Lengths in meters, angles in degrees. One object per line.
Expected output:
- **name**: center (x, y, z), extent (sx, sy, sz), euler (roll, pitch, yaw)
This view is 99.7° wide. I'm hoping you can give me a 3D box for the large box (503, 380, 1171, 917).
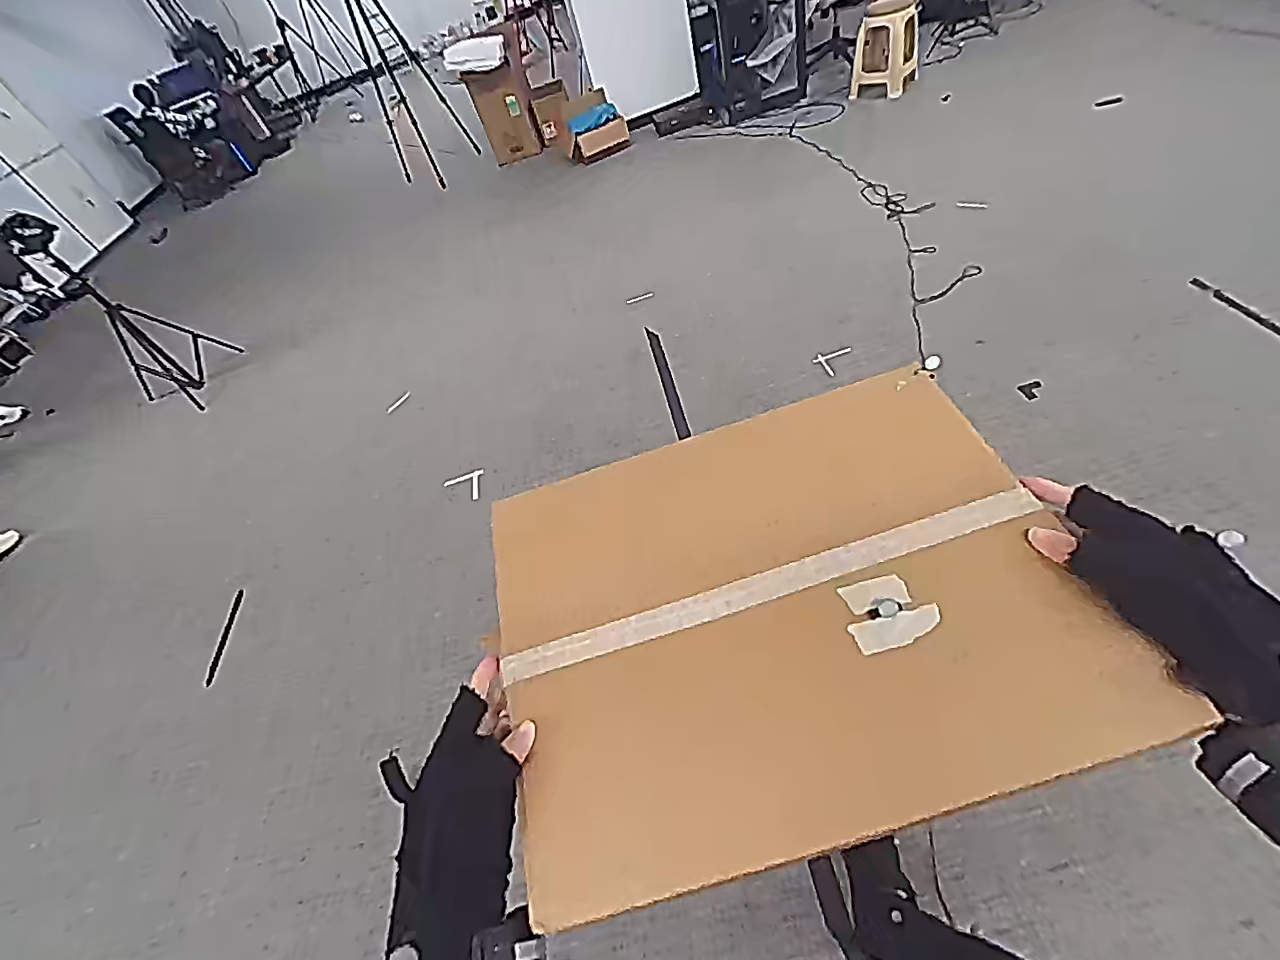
- **large box**: center (0.124, 0.169, 0.531), extent (0.408, 0.320, 0.320), euler (-18, 54, 0)
